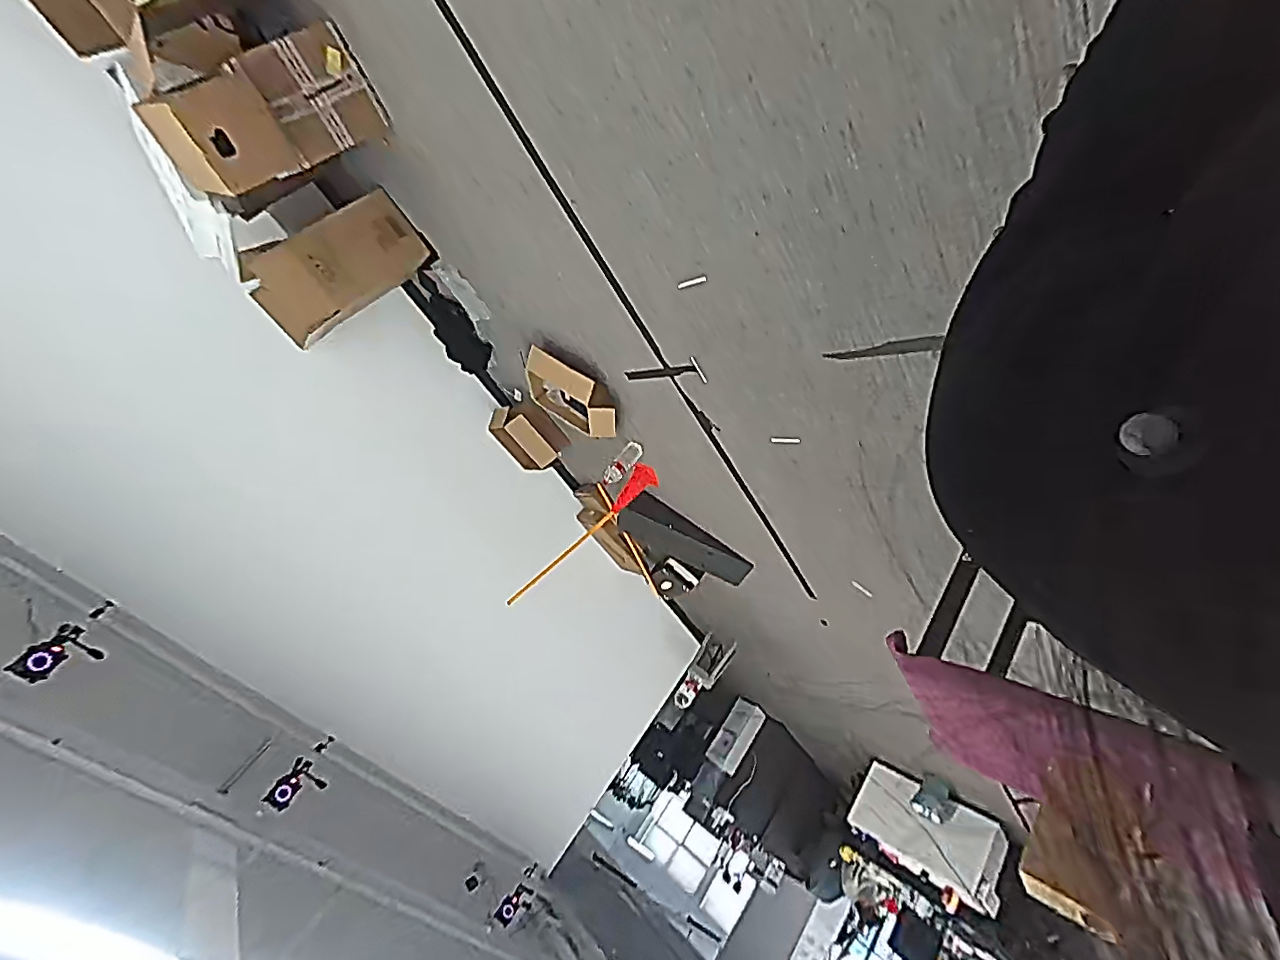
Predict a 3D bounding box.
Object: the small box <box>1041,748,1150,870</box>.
[{"bbox_3d":[1.128,0.802,1.335,0.179,0.176,0.168,10,142,51],"label":"small box"}]
